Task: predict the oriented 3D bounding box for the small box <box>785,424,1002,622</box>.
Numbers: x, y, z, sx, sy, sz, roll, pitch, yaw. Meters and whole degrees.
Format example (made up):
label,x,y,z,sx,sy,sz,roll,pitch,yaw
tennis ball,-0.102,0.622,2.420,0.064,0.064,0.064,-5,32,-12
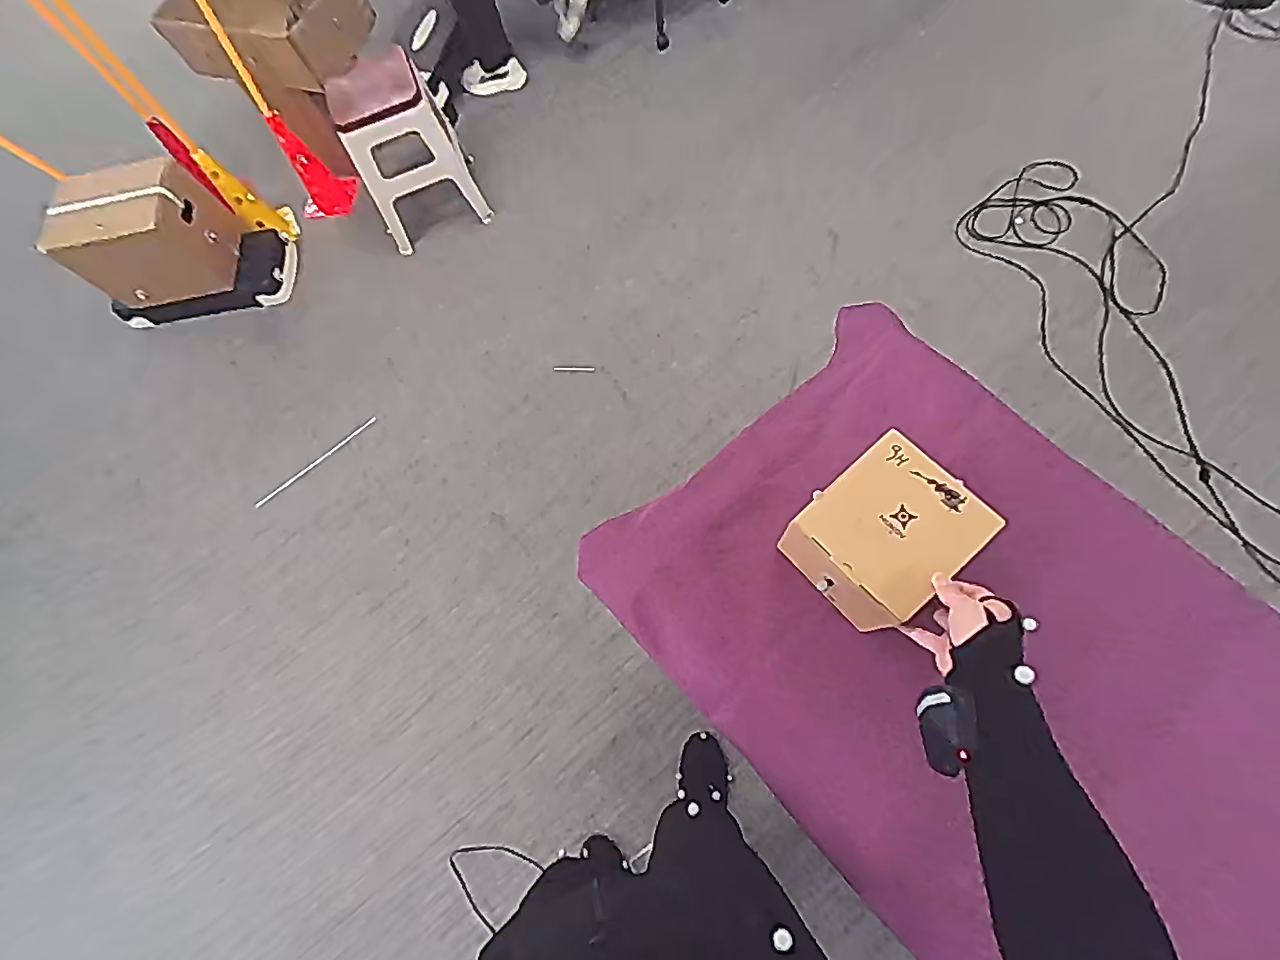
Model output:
label,x,y,z,sx,sy,sz,roll,pitch,yaw
small box,0.307,0.067,0.702,0.179,0.176,0.168,-41,72,-6
